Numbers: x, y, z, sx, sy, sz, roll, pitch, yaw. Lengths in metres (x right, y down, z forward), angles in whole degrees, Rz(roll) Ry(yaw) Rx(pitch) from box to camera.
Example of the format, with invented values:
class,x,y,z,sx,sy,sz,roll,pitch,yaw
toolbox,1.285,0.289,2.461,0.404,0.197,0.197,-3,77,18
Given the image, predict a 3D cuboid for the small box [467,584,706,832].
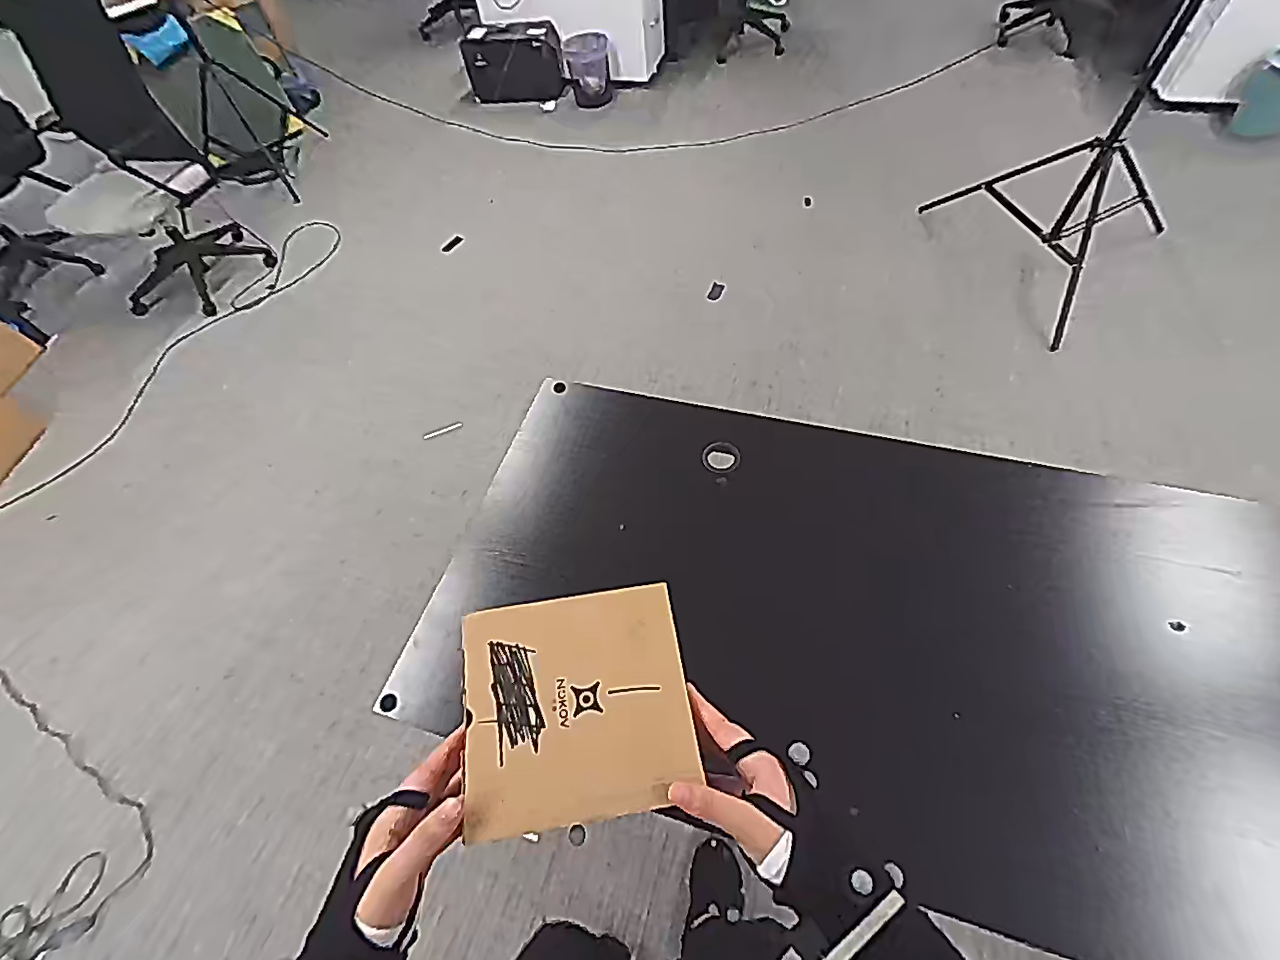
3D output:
class,x,y,z,sx,sy,sz,roll,pitch,yaw
small box,-0.047,0.211,0.494,0.179,0.176,0.168,-7,61,-5
